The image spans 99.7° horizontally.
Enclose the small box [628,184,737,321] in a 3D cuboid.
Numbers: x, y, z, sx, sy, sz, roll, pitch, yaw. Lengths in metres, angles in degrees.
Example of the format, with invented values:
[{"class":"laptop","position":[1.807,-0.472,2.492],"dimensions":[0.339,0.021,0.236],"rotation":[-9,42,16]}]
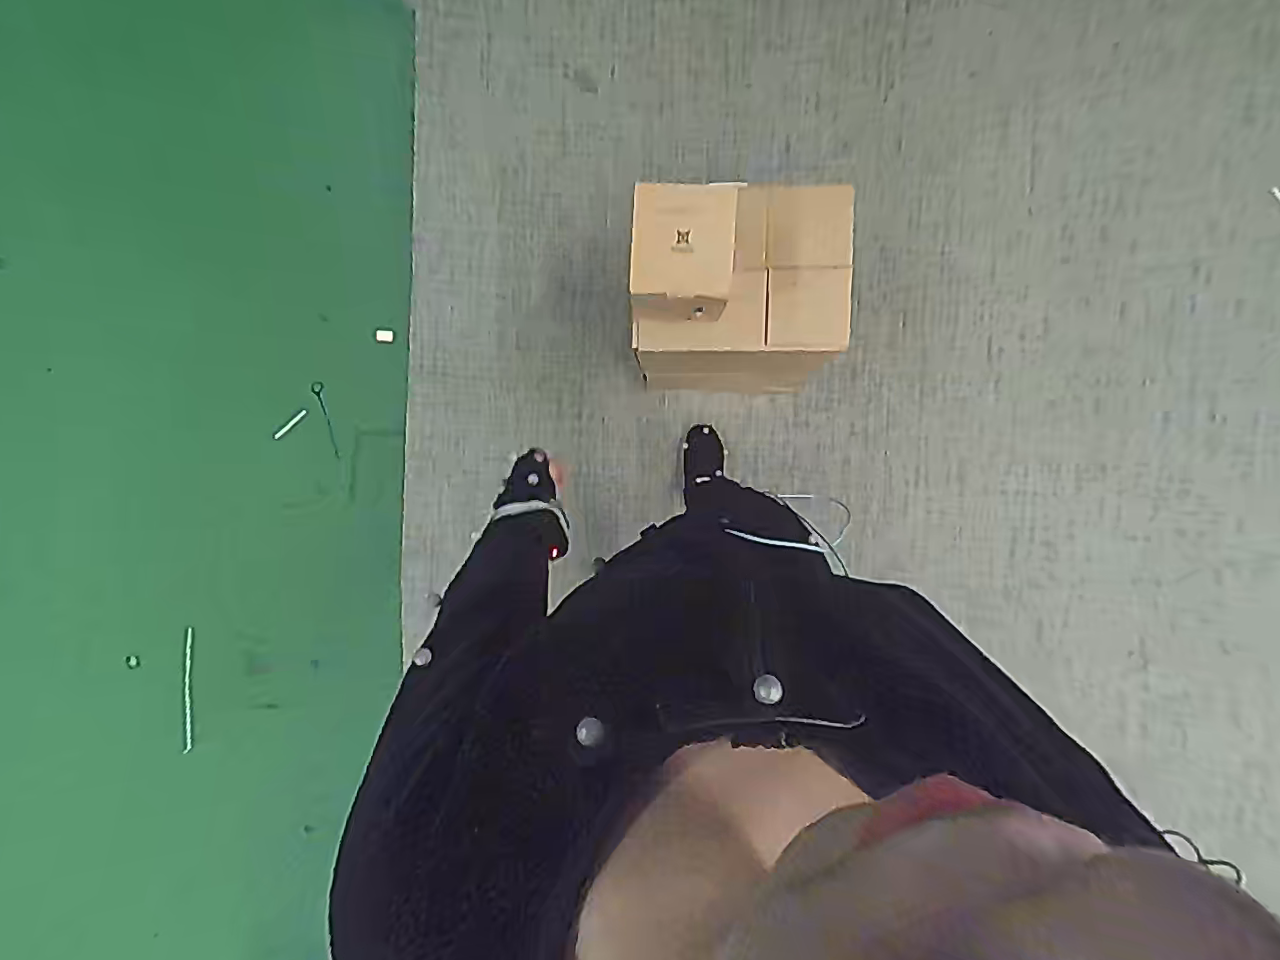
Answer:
[{"class":"small box","position":[0.070,-0.382,0.937],"dimensions":[0.168,0.176,0.179],"rotation":[3,93,1]}]
